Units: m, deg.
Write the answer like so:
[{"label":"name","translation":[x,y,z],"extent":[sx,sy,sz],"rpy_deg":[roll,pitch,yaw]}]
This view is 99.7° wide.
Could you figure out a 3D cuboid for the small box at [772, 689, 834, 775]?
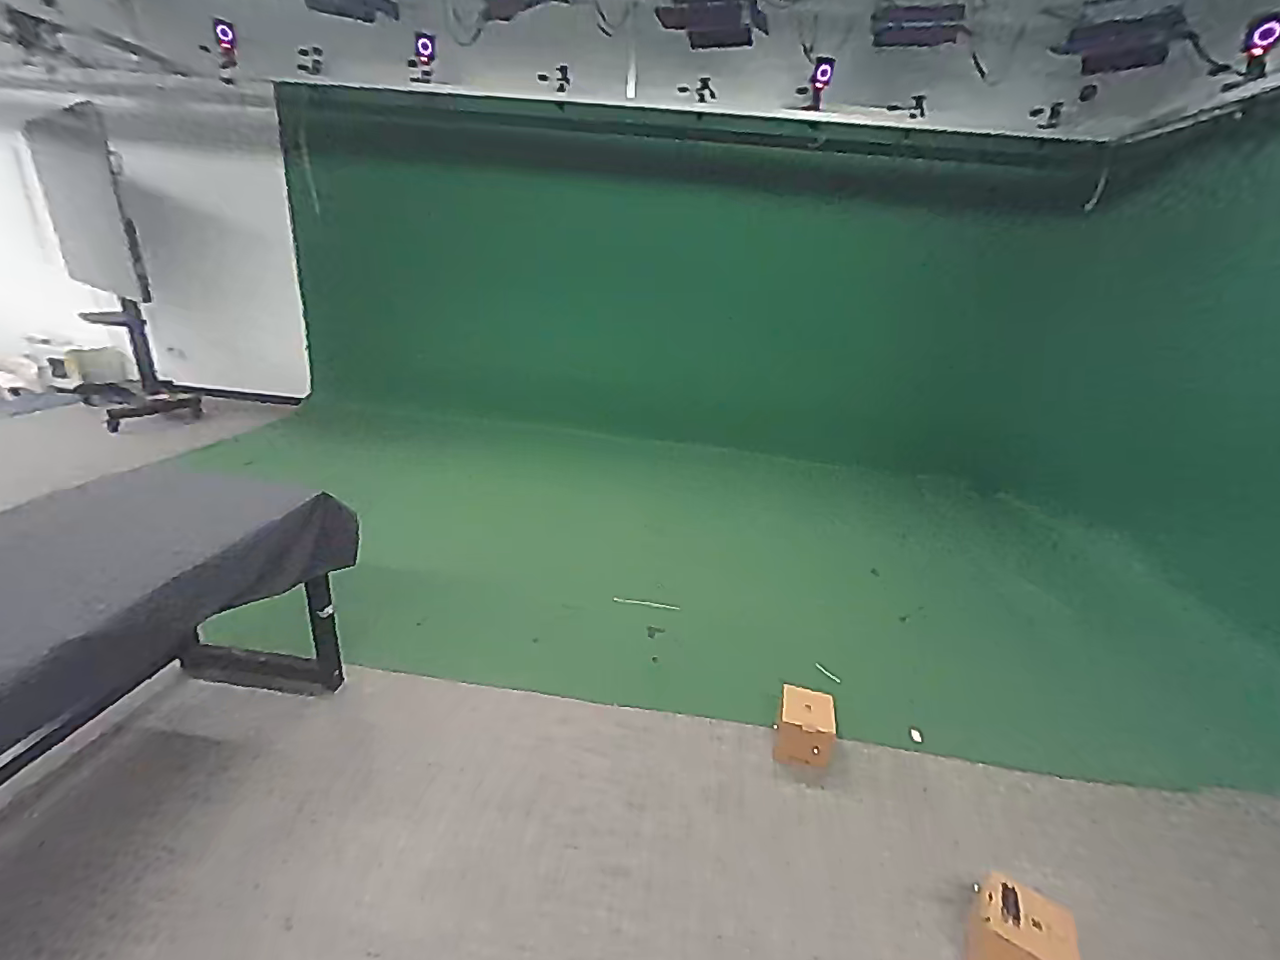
[{"label":"small box","translation":[0.537,0.836,1.791],"extent":[0.168,0.176,0.179],"rpy_deg":[11,21,11]}]
